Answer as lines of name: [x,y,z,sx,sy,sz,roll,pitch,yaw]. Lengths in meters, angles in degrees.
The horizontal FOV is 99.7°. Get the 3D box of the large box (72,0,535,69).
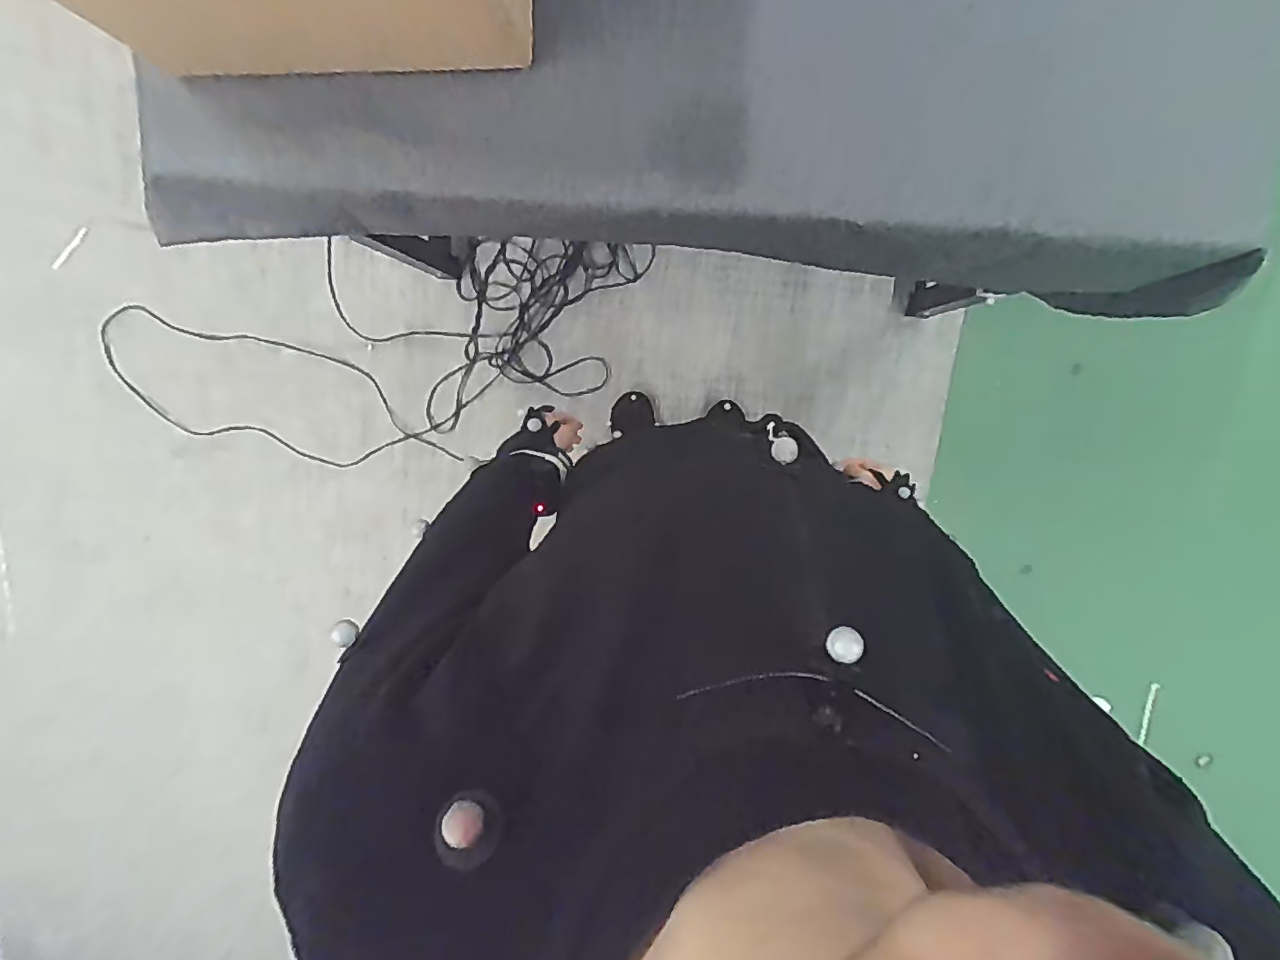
large box: [-0.313,-0.566,0.403,0.408,0.320,0.320,0,100,2]
